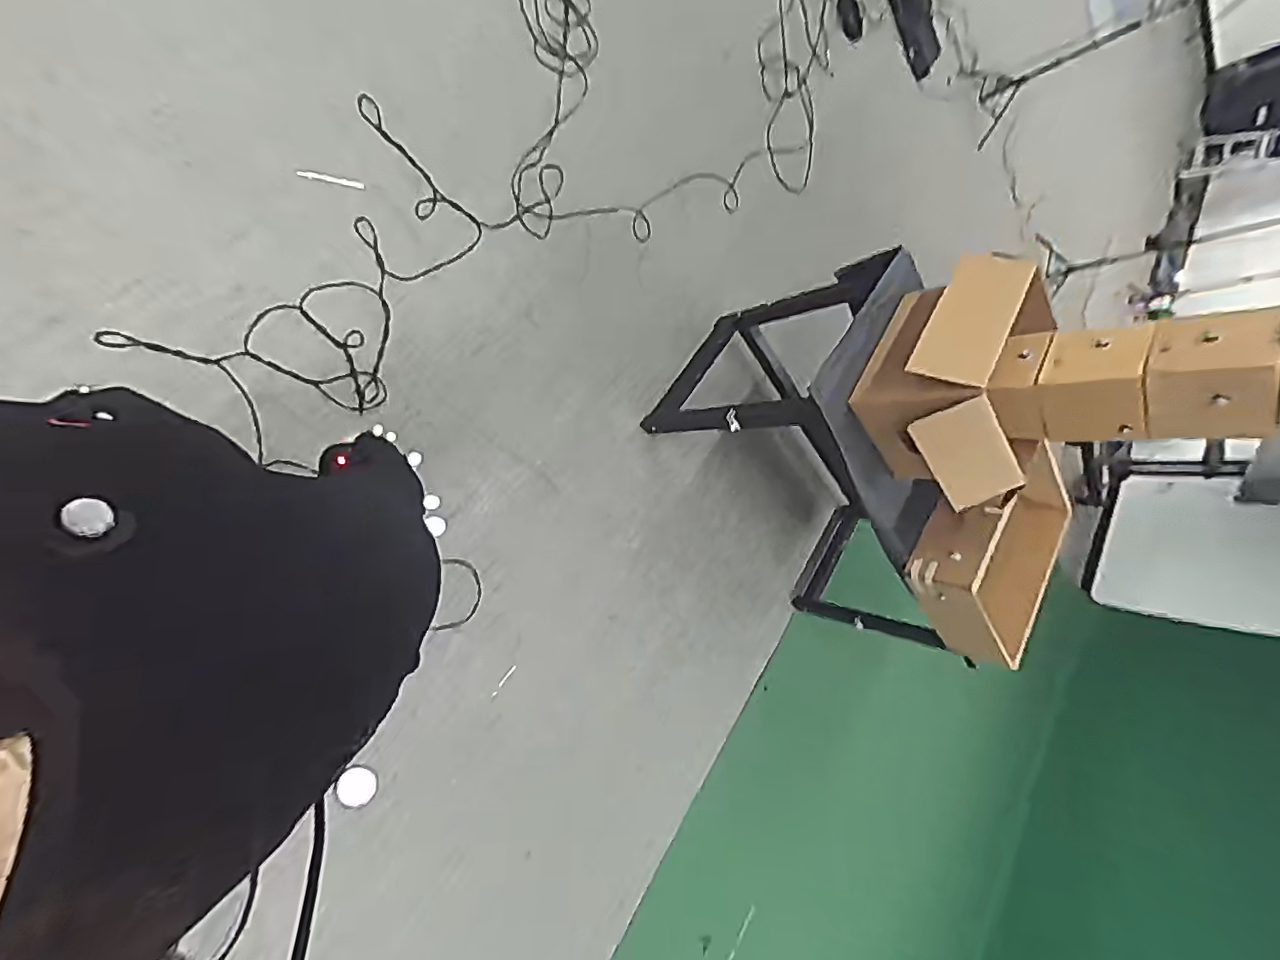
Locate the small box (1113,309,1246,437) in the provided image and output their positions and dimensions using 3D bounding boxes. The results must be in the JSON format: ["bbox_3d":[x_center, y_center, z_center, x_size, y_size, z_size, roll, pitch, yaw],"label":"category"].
[{"bbox_3d":[1.033,-0.198,1.042,0.168,0.176,0.179,-53,125,-24],"label":"small box"}]

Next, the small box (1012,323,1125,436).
[{"bbox_3d":[0.923,-0.208,1.163,0.168,0.176,0.179,-55,126,-23],"label":"small box"}]
